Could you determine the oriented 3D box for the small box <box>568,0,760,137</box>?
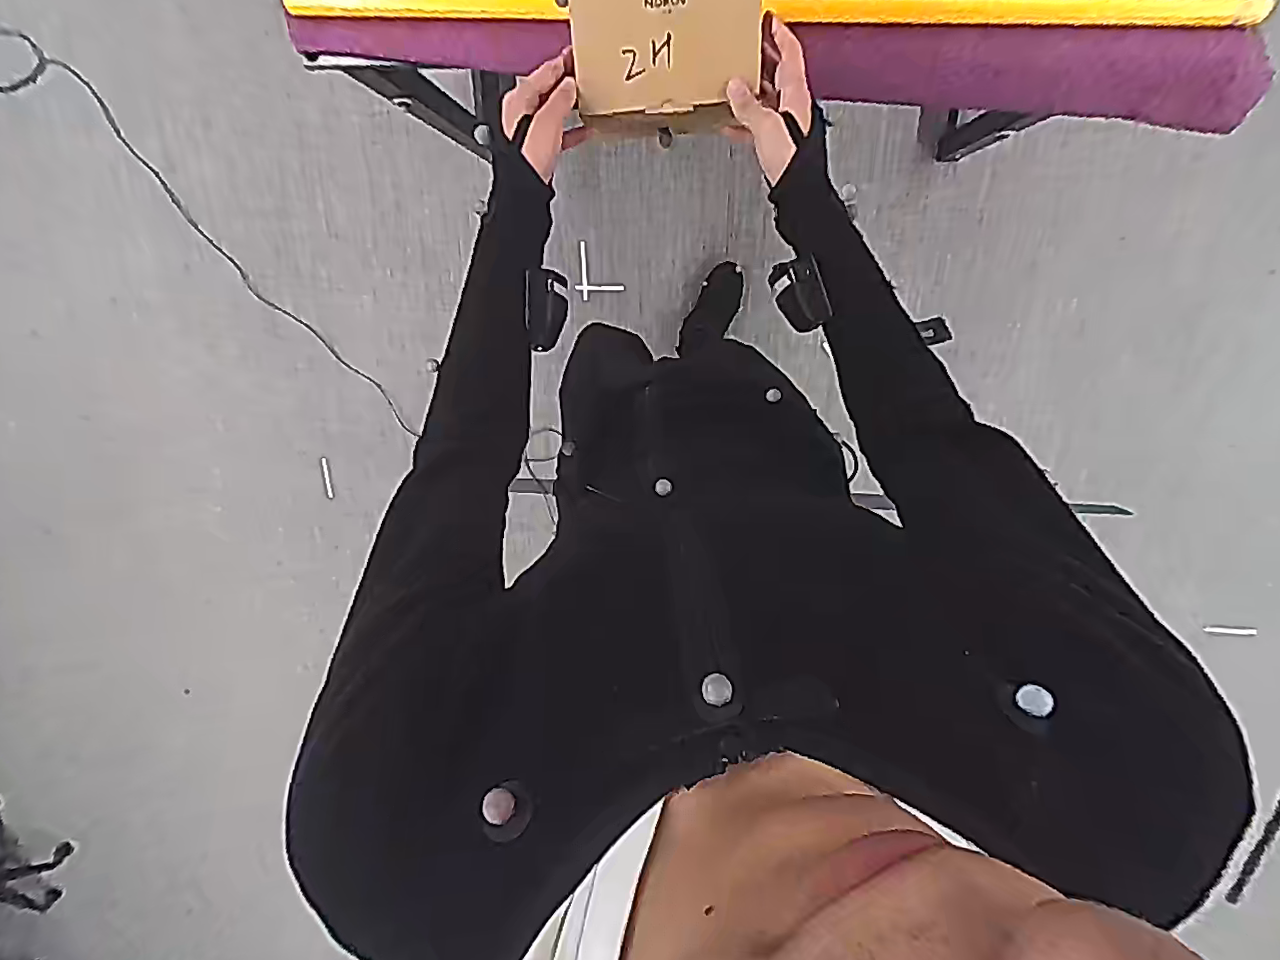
[{"bbox_3d":[0.020,-0.452,0.523,0.168,0.176,0.179,-3,116,3],"label":"small box"}]
